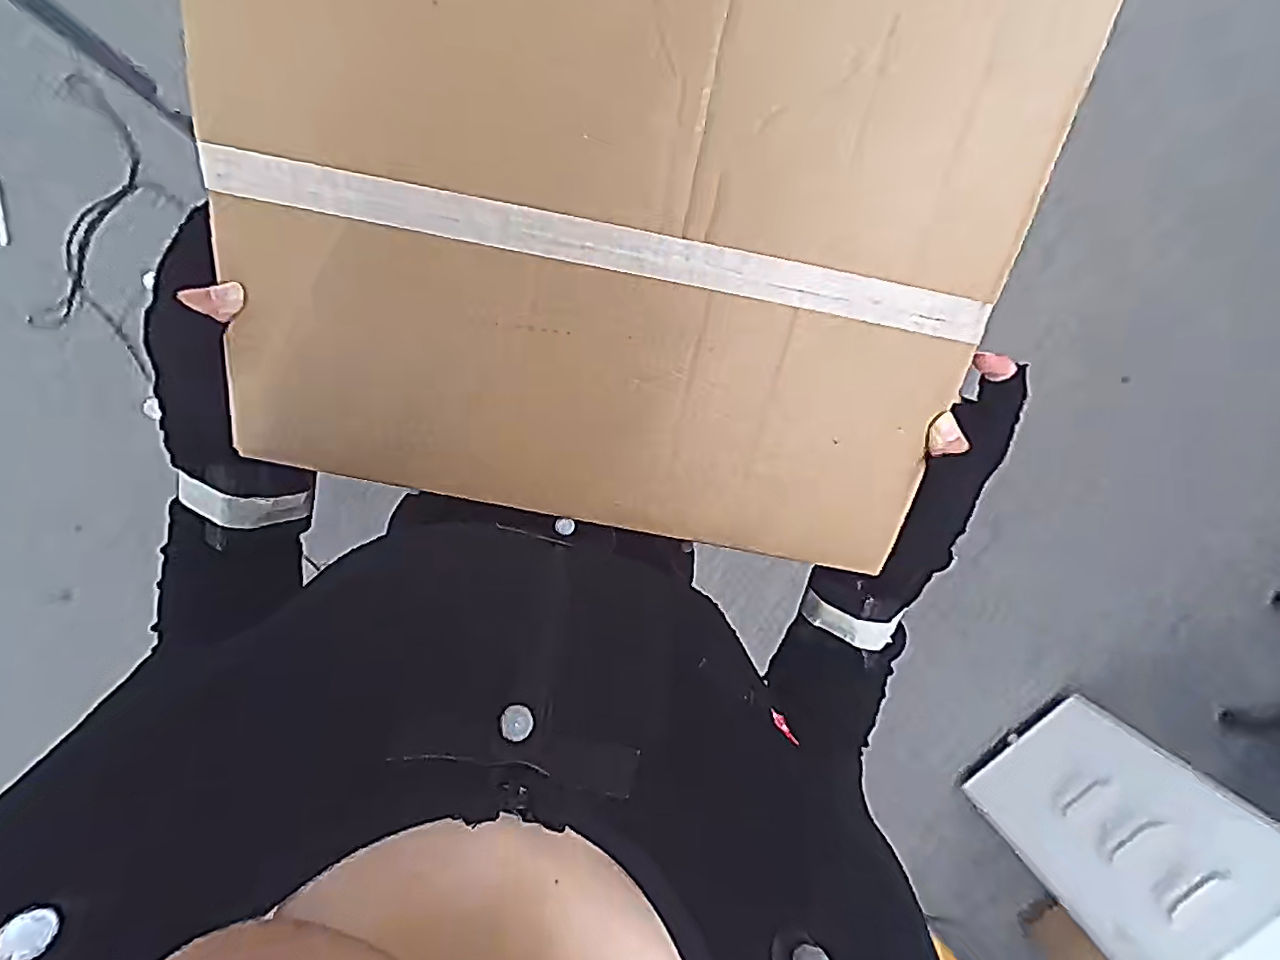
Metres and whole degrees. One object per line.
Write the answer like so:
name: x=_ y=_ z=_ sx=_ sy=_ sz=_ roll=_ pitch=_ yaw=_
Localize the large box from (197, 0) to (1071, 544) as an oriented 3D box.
large box: x=-0.020 y=-0.181 z=0.424 sx=0.408 sy=0.320 sz=0.320 roll=9 pitch=113 yaw=-2
